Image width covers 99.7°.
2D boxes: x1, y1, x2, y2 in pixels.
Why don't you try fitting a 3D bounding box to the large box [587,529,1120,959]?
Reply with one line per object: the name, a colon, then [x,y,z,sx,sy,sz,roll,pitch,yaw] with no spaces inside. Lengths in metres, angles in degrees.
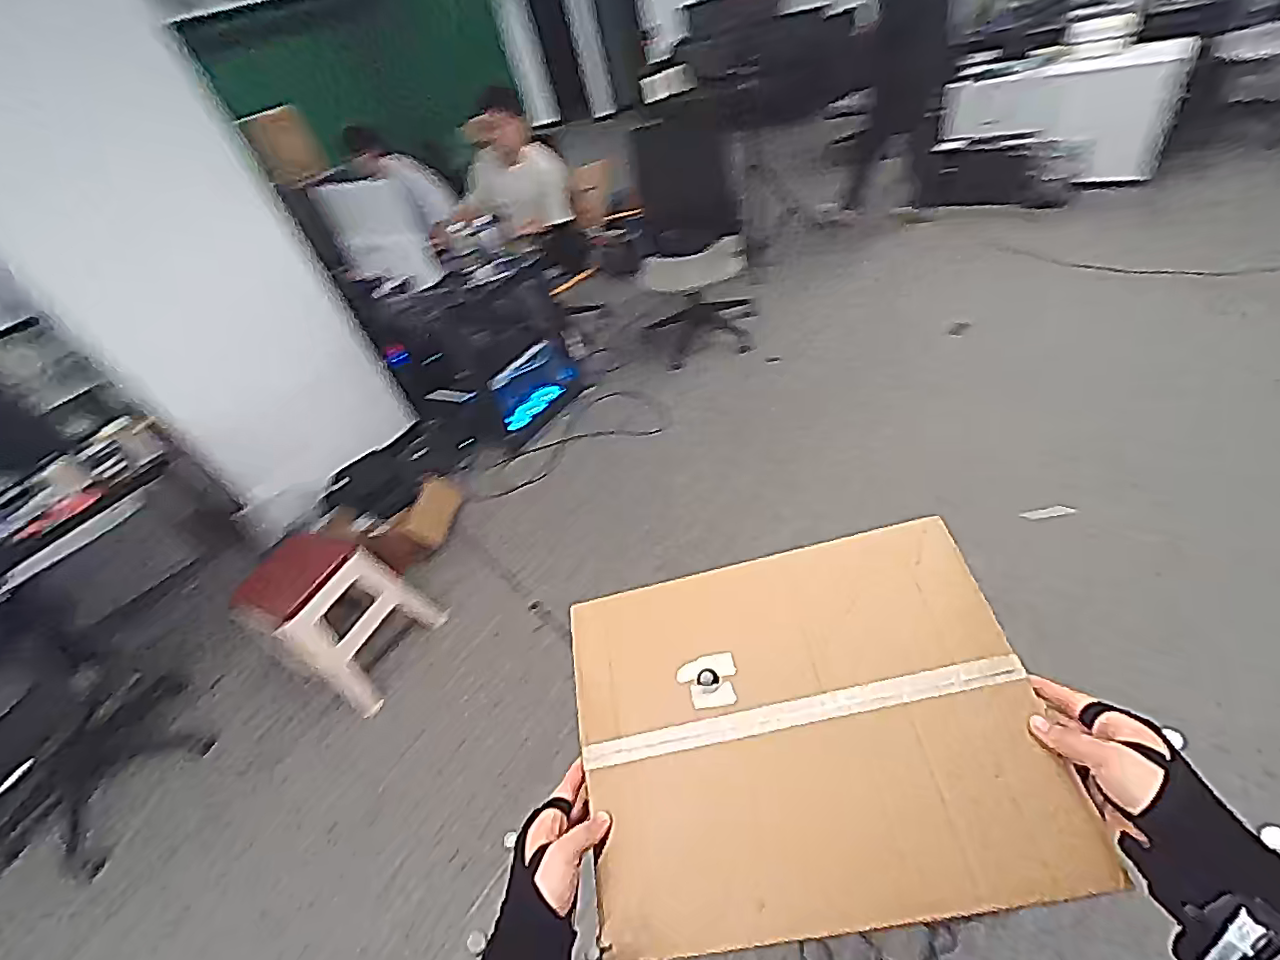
large box: [0.190,0.300,0.631,0.408,0.320,0.320,-15,56,9]
